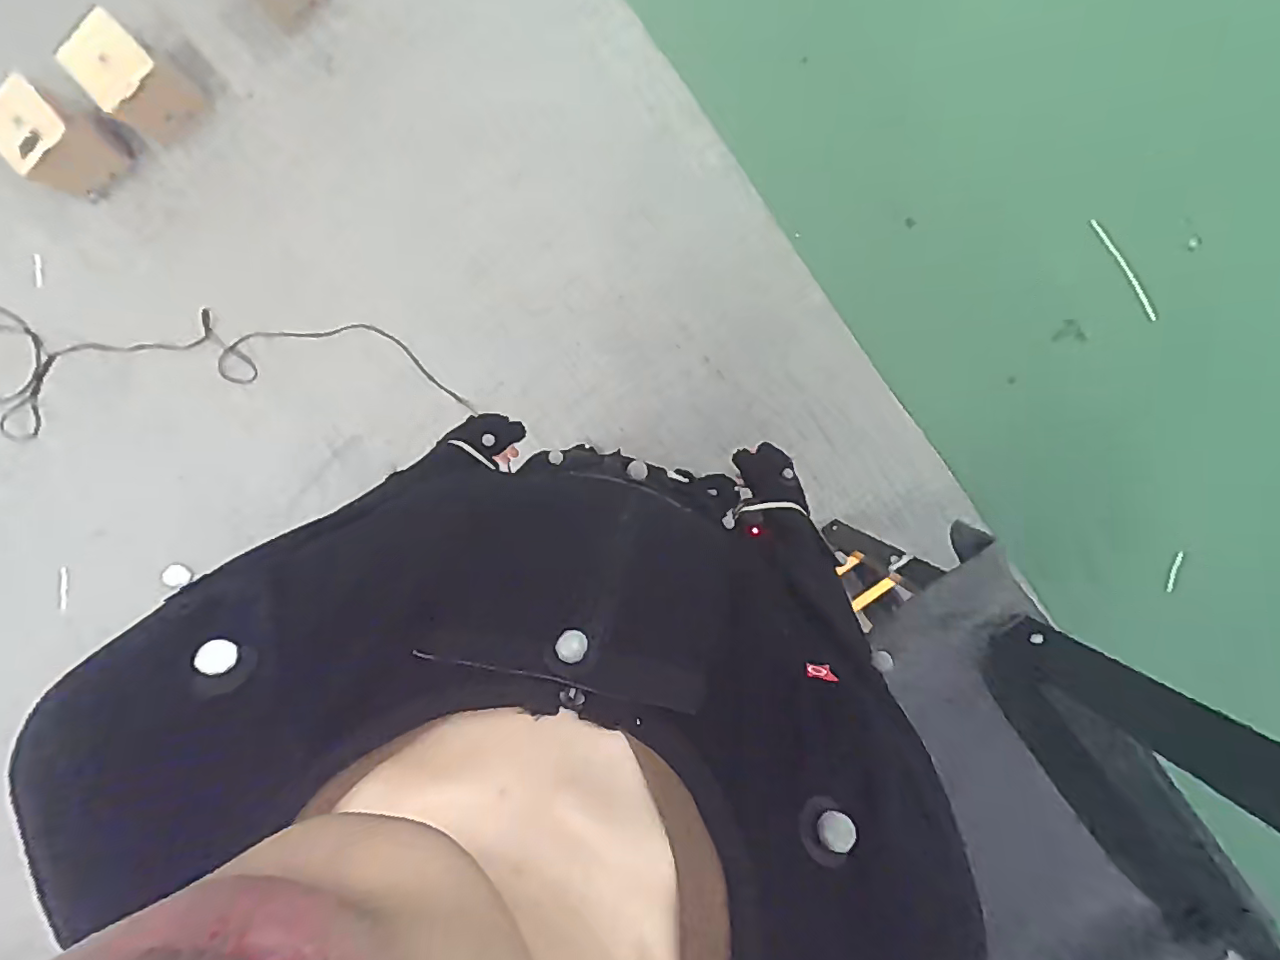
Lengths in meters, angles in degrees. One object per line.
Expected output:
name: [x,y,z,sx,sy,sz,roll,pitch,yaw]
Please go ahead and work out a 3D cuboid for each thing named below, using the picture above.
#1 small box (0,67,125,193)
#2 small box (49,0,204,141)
small box: [-1.447,-0.841,1.330,0.168,0.176,0.179,-39,94,5]
small box: [-1.233,-0.980,1.313,0.168,0.176,0.179,-42,95,5]
